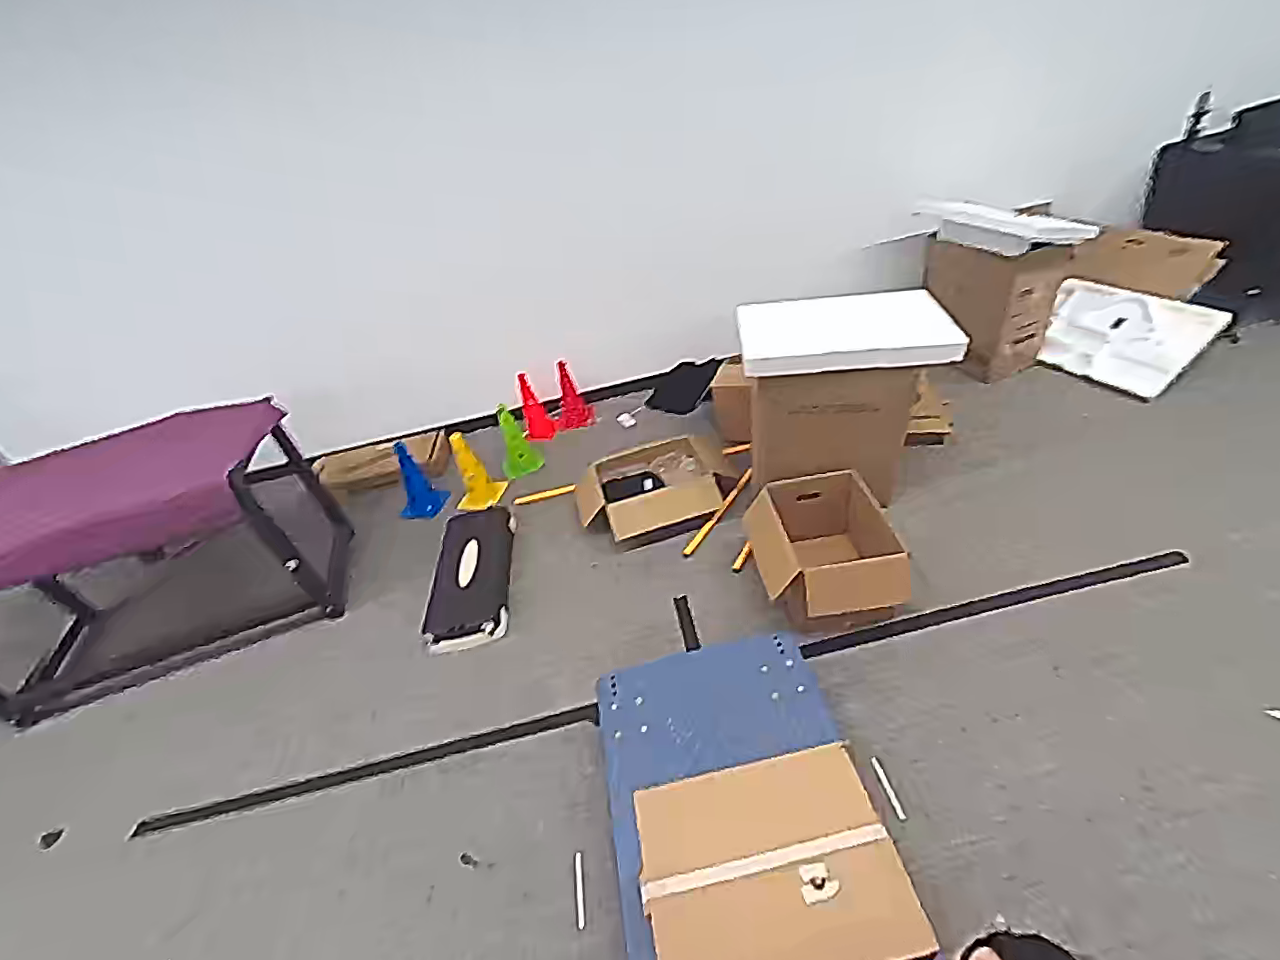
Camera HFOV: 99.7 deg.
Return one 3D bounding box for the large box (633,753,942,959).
[{"bbox_3d":[0.226,0.750,0.947,0.408,0.320,0.320,-12,37,-3],"label":"large box"}]
